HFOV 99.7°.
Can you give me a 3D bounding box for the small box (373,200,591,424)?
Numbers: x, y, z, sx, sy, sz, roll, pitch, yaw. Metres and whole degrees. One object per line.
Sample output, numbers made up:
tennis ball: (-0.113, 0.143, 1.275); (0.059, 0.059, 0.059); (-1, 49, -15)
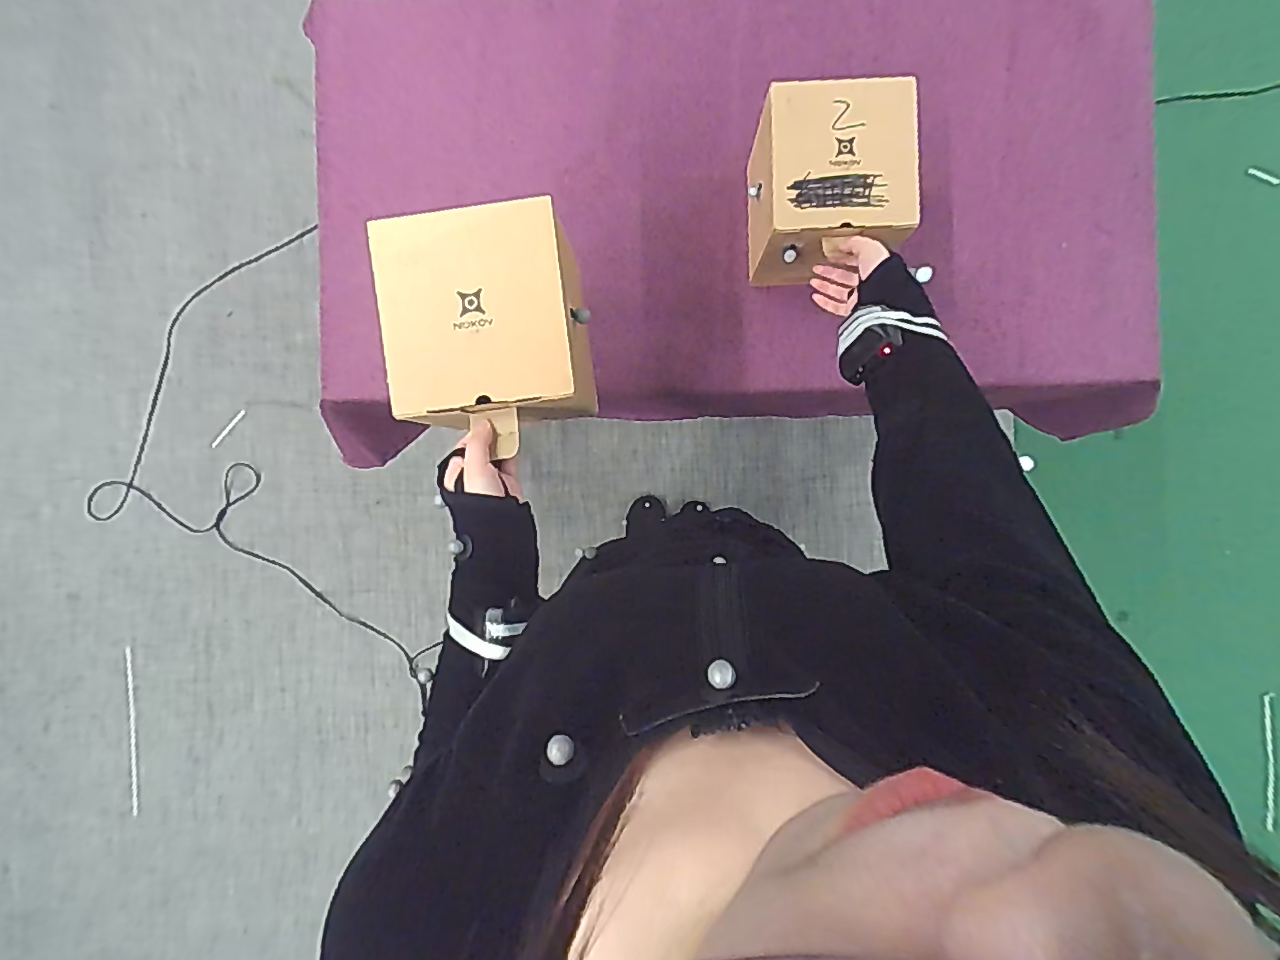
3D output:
small box: (-0.149, -0.158, 0.567); (0.168, 0.176, 0.179); (-7, 92, 2)
